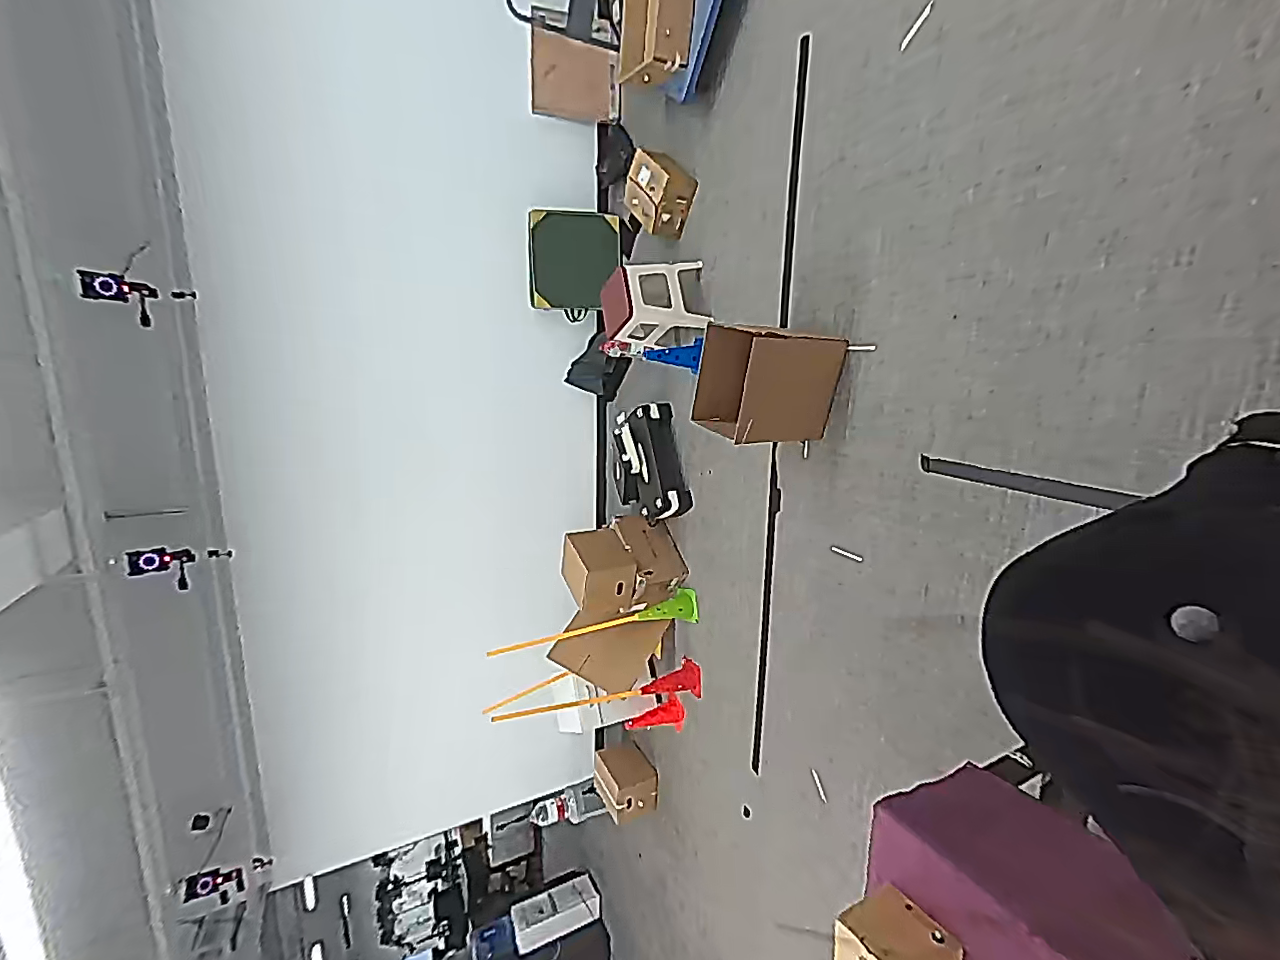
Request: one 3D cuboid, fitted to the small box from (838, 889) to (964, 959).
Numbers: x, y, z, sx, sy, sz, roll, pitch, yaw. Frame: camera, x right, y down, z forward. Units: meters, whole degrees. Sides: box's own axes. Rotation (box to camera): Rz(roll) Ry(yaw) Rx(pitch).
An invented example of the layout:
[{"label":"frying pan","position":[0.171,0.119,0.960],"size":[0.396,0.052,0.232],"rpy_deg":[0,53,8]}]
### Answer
[{"label":"small box","position":[0.519,0.978,1.078],"size":[0.168,0.176,0.179],"rpy_deg":[13,107,62]}]
